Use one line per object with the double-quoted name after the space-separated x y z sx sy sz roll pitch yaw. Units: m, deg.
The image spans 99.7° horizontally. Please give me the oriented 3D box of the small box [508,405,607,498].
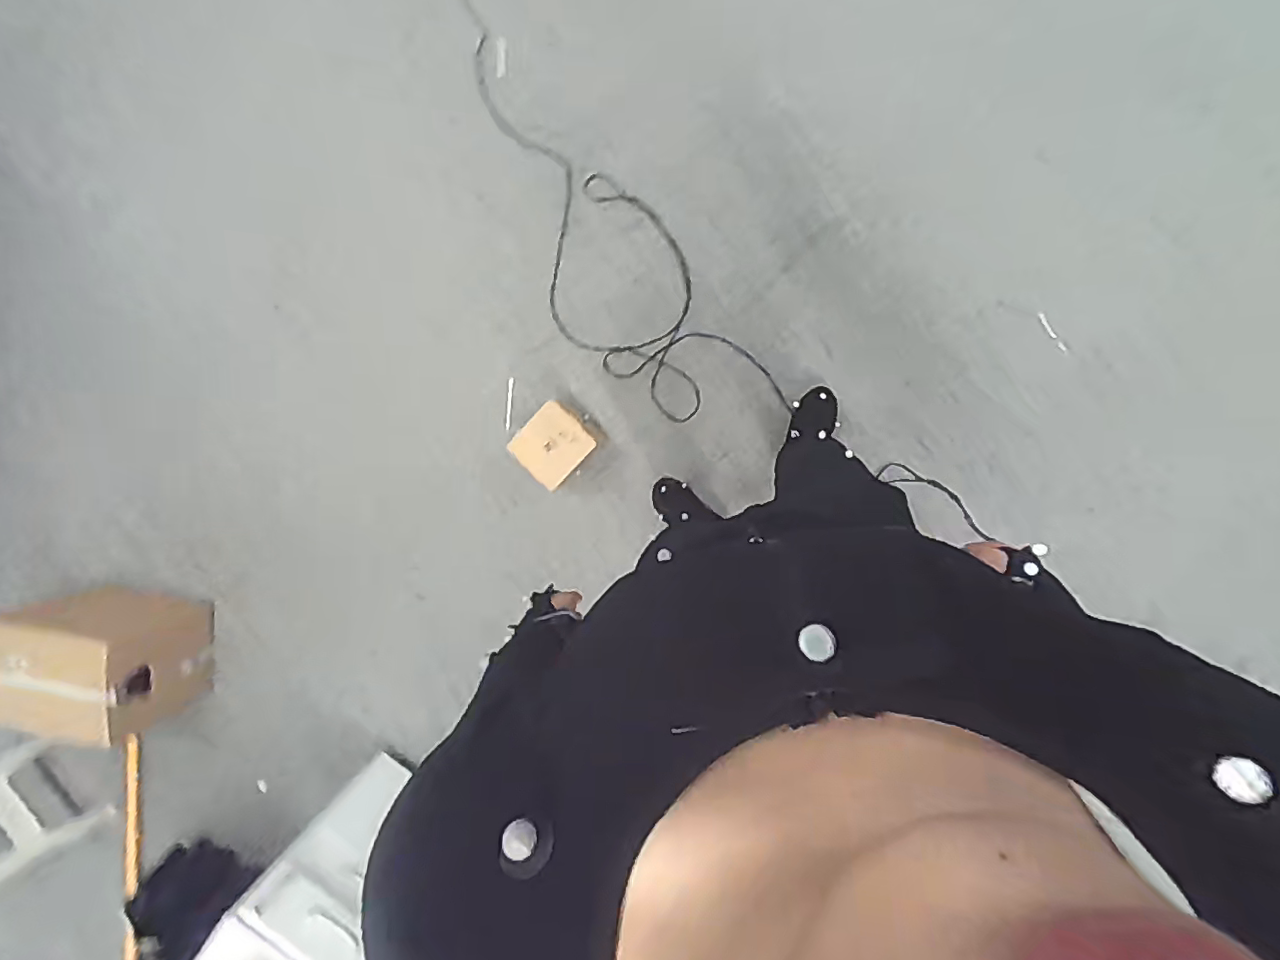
-0.207 -0.079 1.422 0.168 0.176 0.179 44 100 0 "small box"
